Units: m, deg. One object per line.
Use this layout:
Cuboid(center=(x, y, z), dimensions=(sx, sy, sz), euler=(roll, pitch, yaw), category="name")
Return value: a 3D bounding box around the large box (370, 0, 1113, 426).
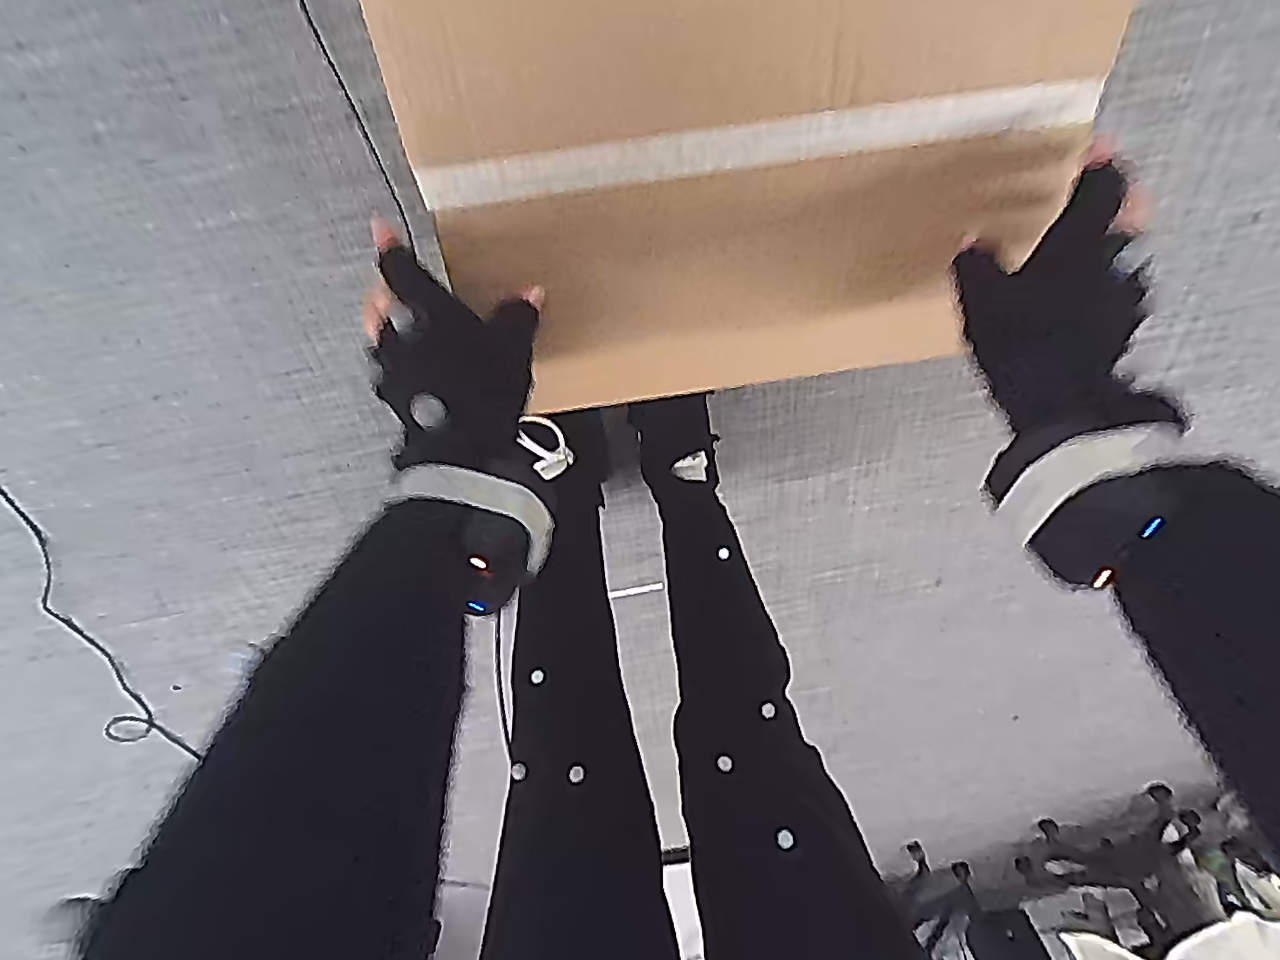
Cuboid(center=(0.054, -0.280, 0.451), dimensions=(0.408, 0.320, 0.320), euler=(-9, 127, -2), category="large box")
